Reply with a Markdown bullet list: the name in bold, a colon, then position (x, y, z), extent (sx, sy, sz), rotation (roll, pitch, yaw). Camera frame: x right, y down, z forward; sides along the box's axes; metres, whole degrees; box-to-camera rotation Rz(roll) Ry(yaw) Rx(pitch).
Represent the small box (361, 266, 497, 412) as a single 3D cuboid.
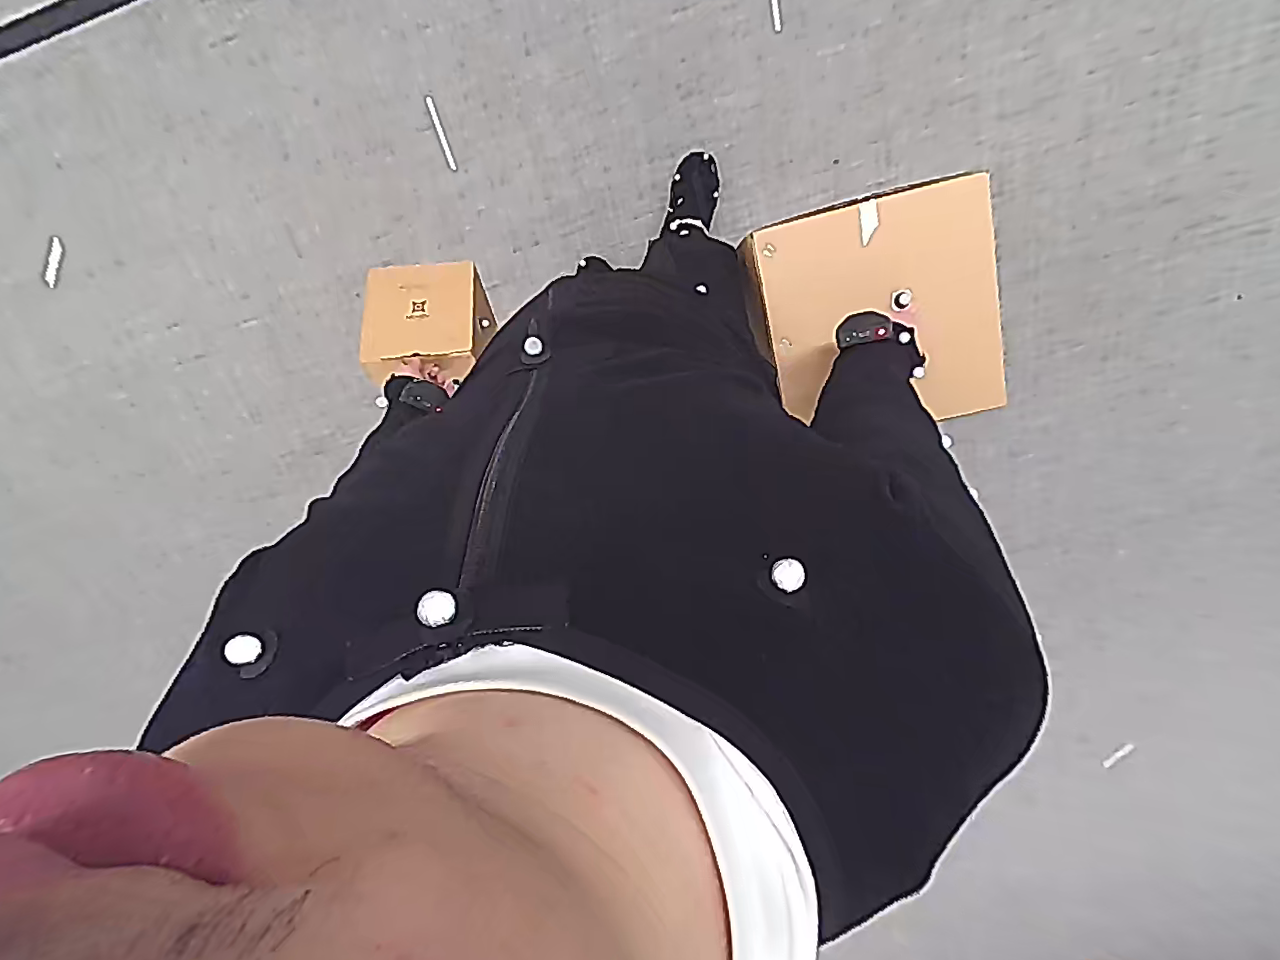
- **small box**: position (-0.337, -0.224, 0.898), extent (0.168, 0.179, 0.176), rotation (-5, 157, -3)
